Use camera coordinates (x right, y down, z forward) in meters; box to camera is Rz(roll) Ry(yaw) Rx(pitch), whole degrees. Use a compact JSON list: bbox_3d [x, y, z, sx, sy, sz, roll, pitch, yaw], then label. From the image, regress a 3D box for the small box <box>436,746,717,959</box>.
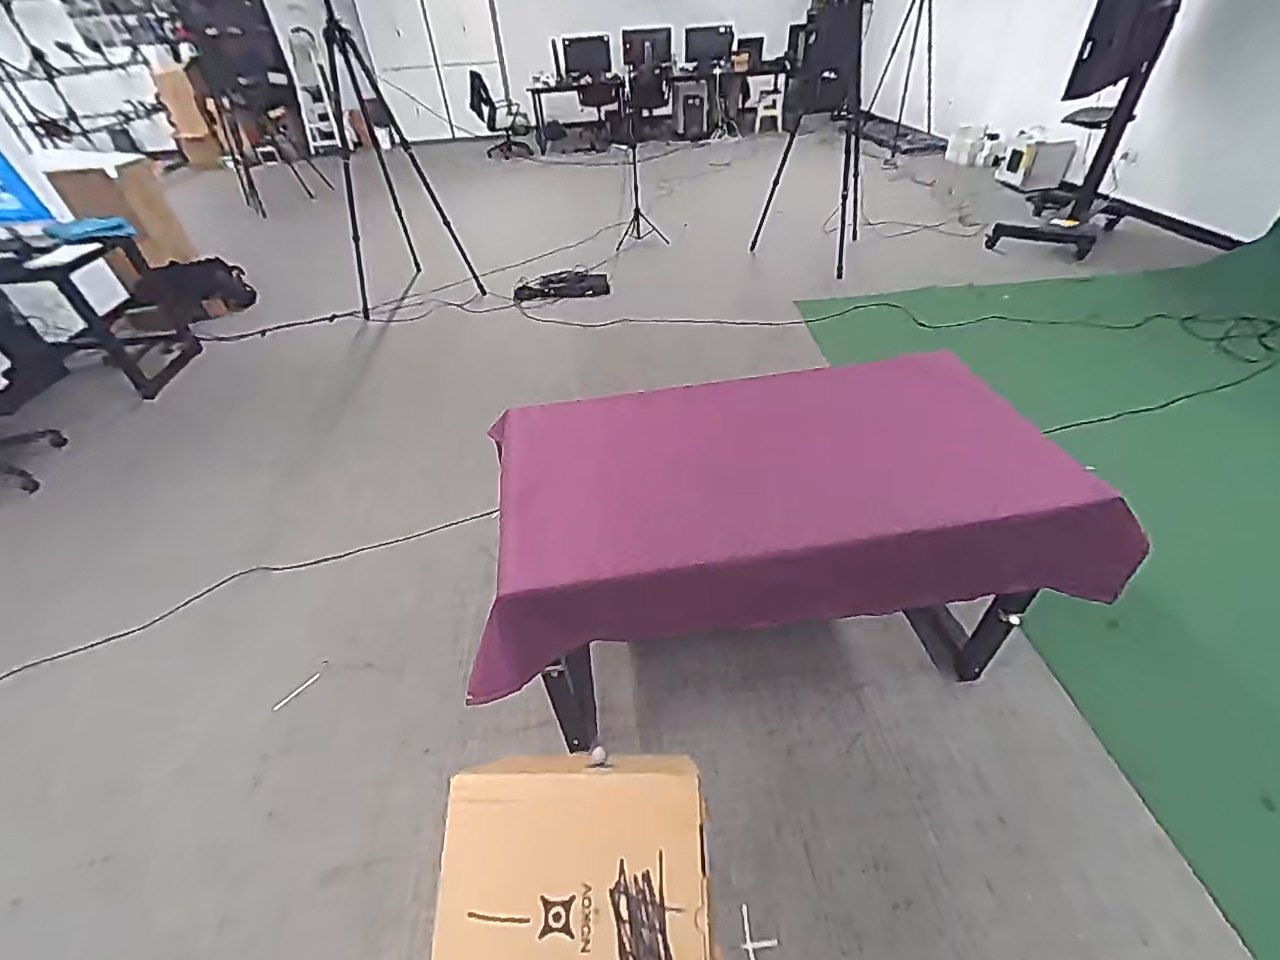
[{"bbox_3d":[-0.038,0.302,0.417,0.179,0.176,0.168,-1,67,2],"label":"small box"}]
